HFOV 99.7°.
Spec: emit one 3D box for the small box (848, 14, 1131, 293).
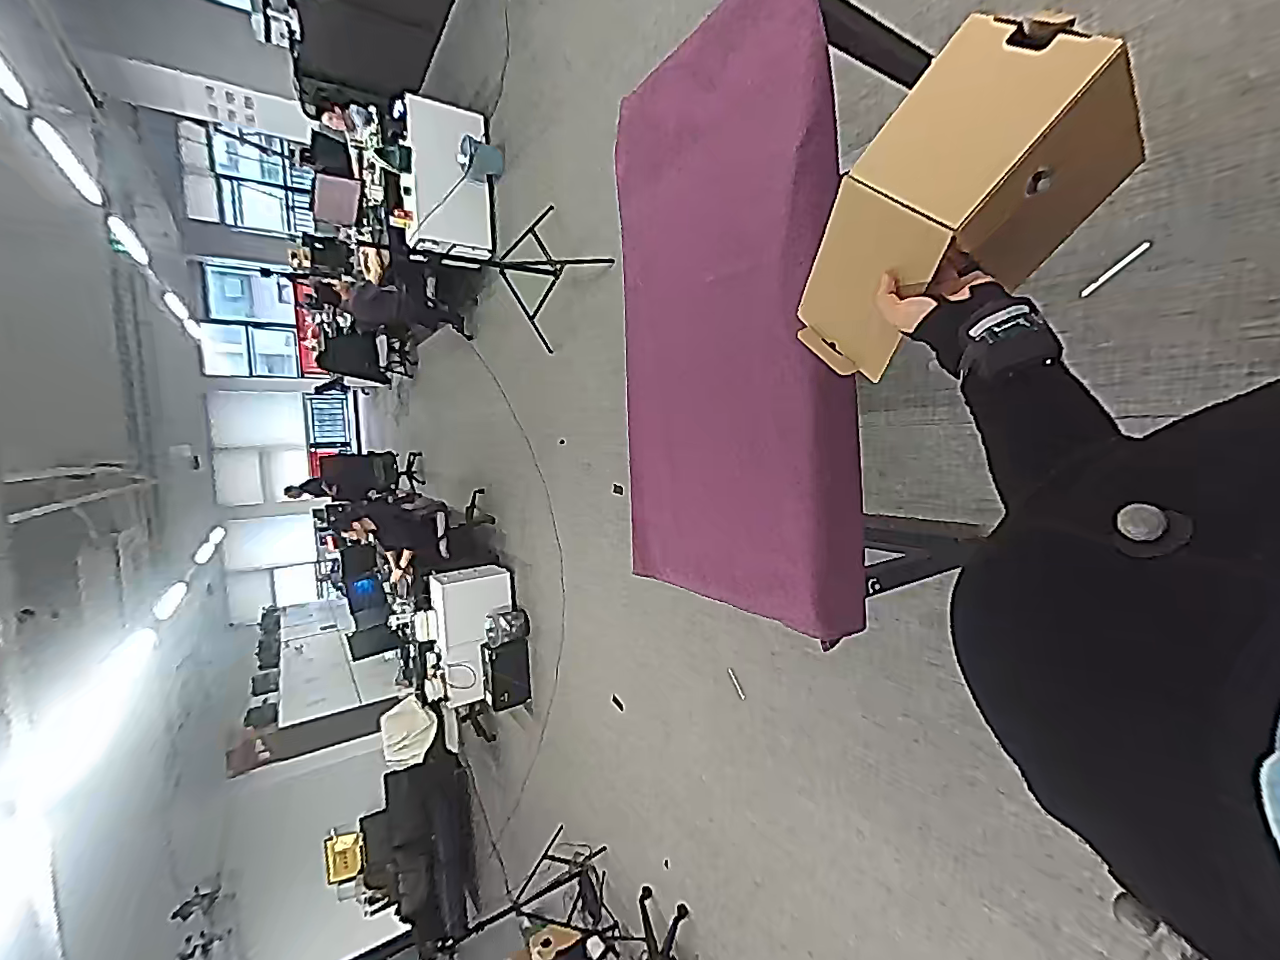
[{"bbox_3d":[0.371,-0.334,0.579,0.179,0.176,0.168,-51,47,25],"label":"small box"}]
